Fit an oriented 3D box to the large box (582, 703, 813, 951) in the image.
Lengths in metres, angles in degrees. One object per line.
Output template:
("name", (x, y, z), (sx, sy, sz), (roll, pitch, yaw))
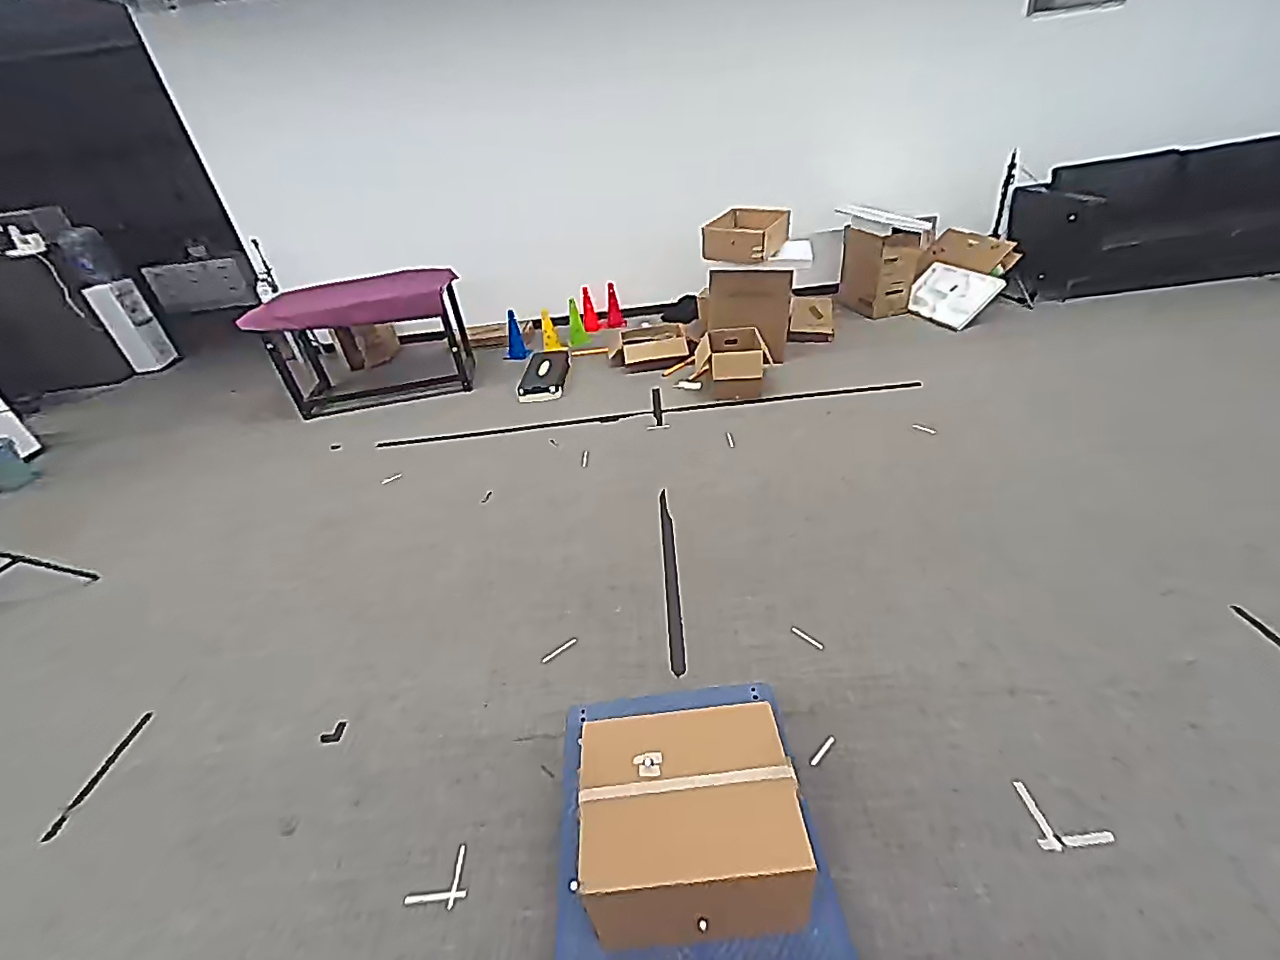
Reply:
("large box", (0.106, 0.713, 1.120), (0.408, 0.320, 0.320), (-8, 33, 1))
